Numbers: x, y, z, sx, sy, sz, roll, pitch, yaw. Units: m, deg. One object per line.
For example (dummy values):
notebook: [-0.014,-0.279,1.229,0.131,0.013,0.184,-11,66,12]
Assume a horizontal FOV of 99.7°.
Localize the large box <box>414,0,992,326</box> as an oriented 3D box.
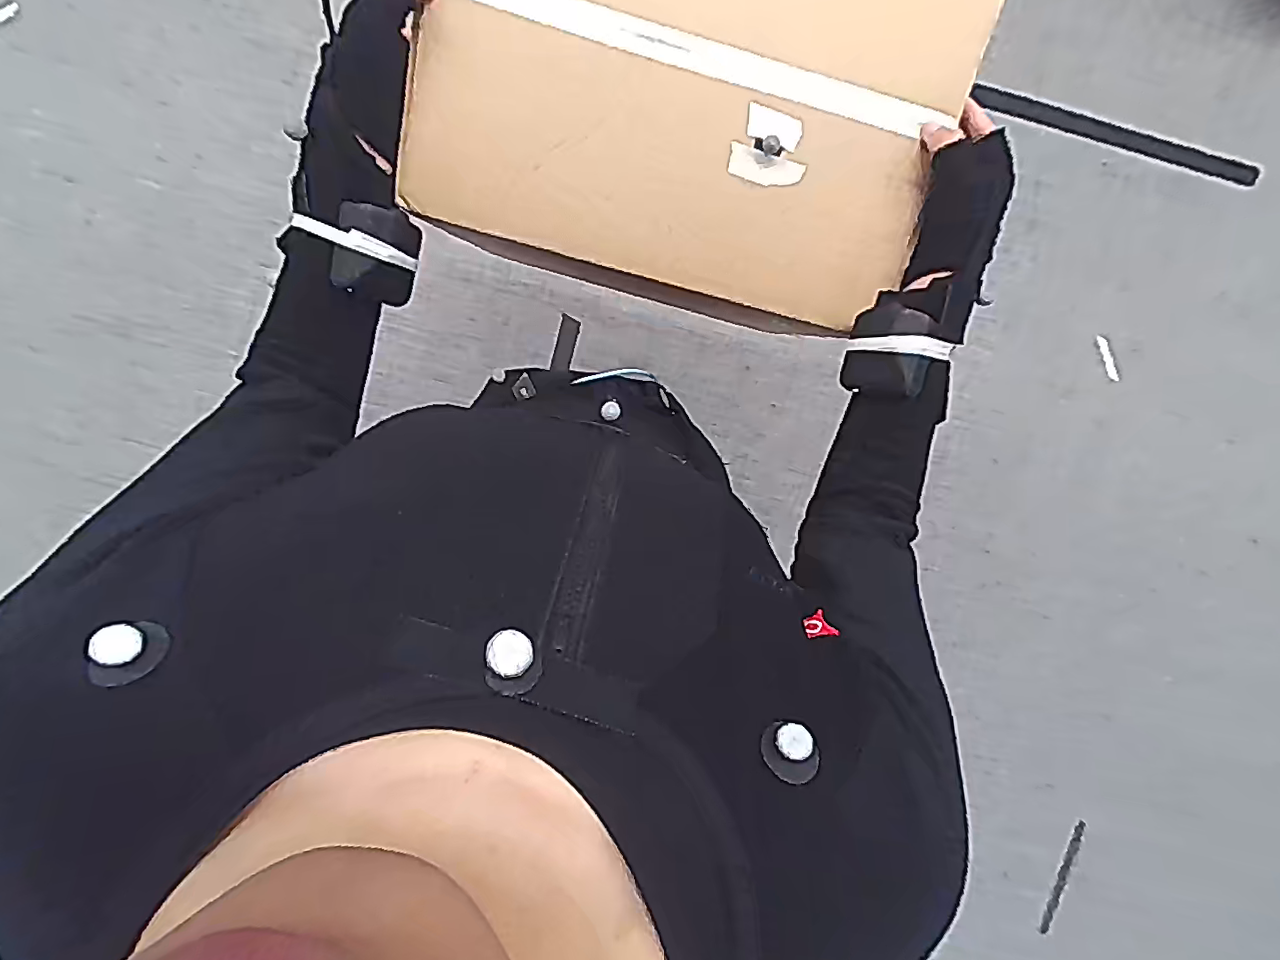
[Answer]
large box: [0.039,-0.358,0.546,0.408,0.320,0.320,13,107,-7]
